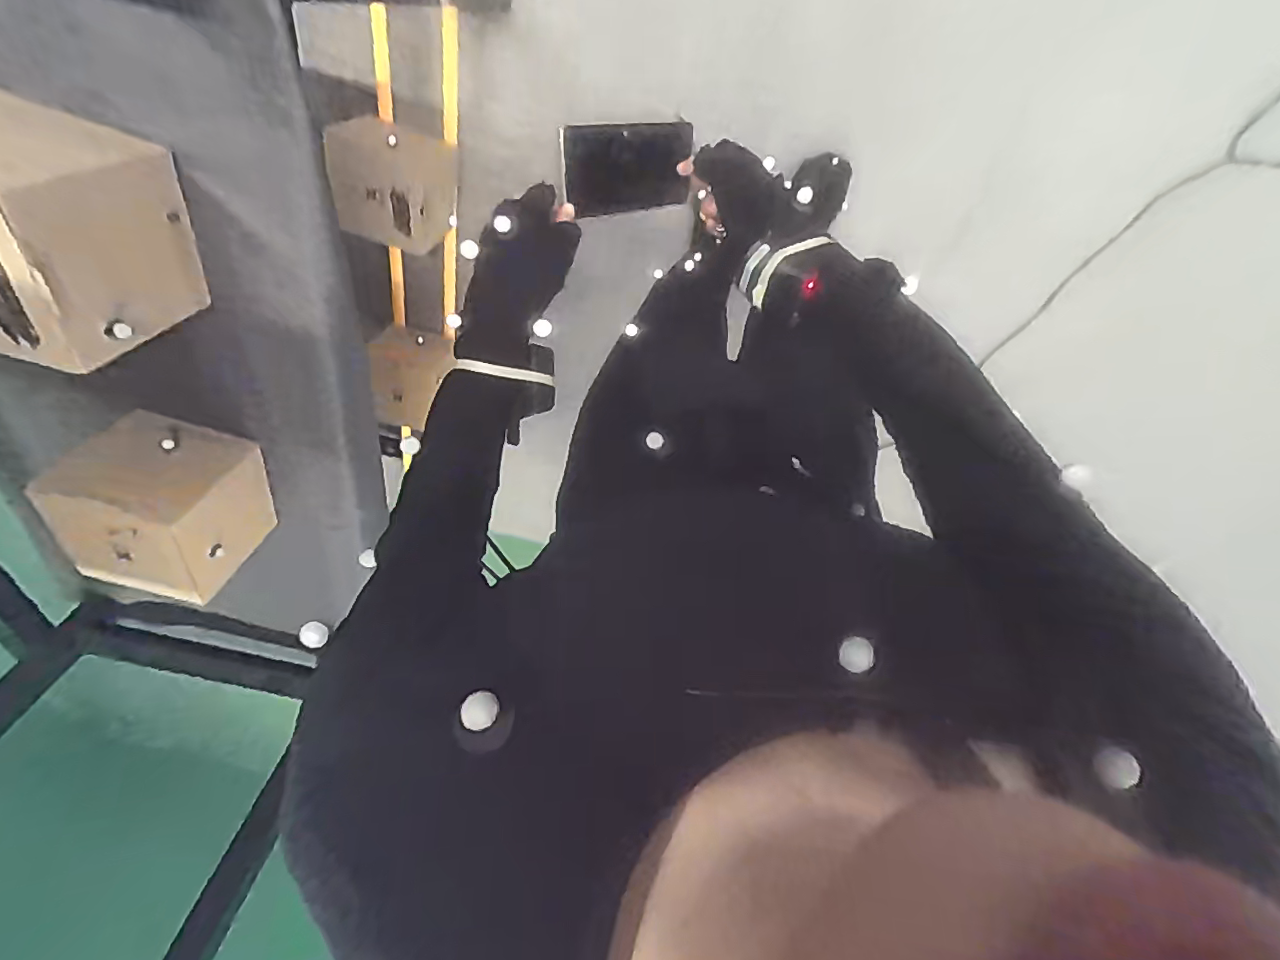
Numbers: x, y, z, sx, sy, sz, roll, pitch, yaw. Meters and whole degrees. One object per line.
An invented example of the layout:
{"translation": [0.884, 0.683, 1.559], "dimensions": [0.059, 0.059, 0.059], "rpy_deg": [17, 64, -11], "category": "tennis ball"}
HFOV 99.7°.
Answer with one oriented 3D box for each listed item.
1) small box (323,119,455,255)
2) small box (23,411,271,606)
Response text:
{"translation": [-0.466, -0.561, 1.029], "dimensions": [0.179, 0.176, 0.168], "rpy_deg": [17, 130, -7], "category": "small box"}
{"translation": [-0.645, 0.038, 0.742], "dimensions": [0.168, 0.176, 0.179], "rpy_deg": [17, 130, -6], "category": "small box"}
